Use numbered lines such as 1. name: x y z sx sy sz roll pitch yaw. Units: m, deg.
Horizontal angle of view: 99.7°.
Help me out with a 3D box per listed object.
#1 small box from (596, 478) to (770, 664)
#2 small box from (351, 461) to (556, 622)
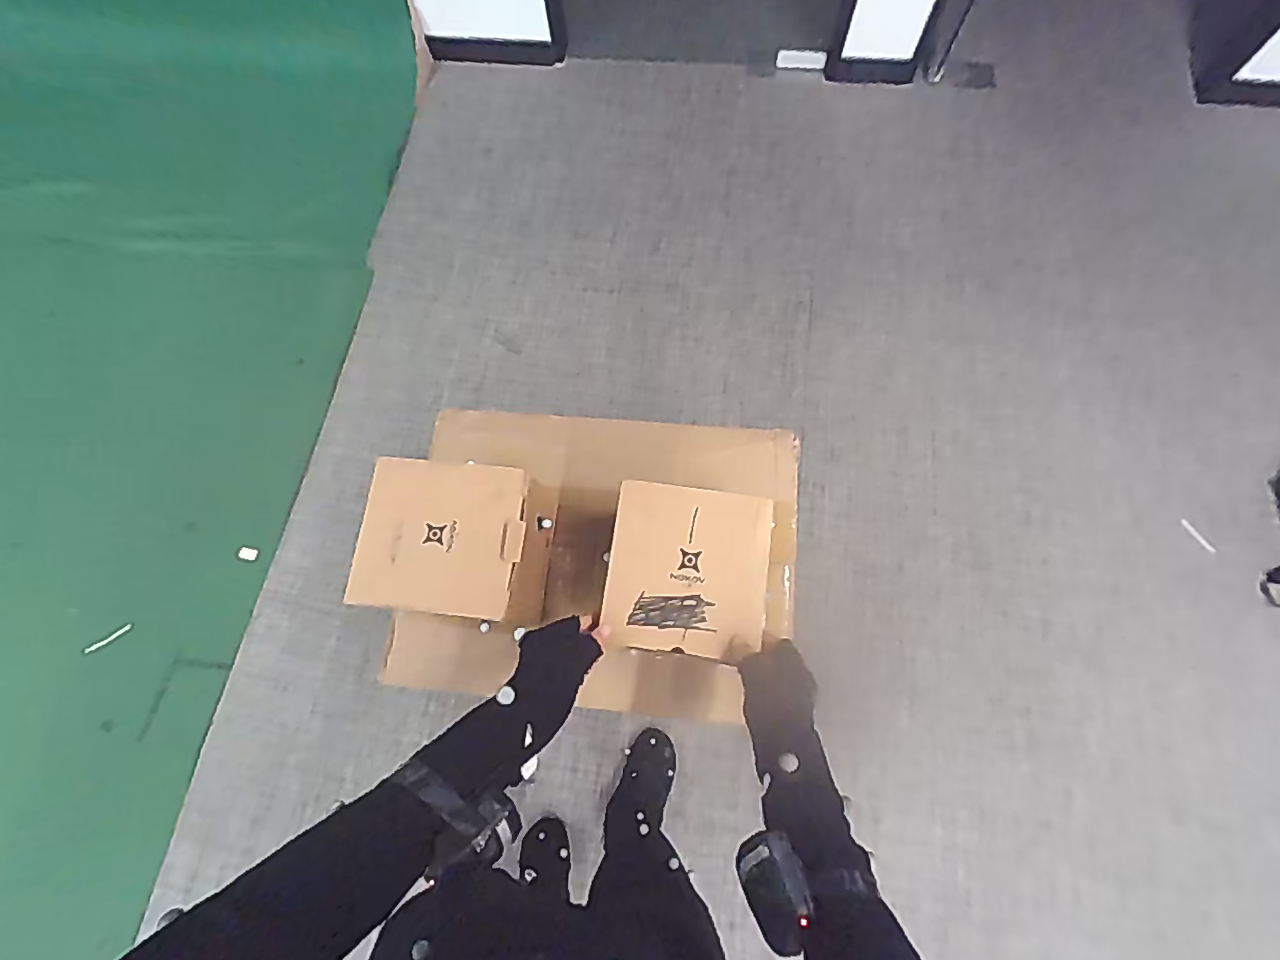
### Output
1. small box: 0.052 0.111 0.640 0.168 0.176 0.179 7 75 5
2. small box: -0.210 0.084 0.666 0.179 0.176 0.168 3 73 5
